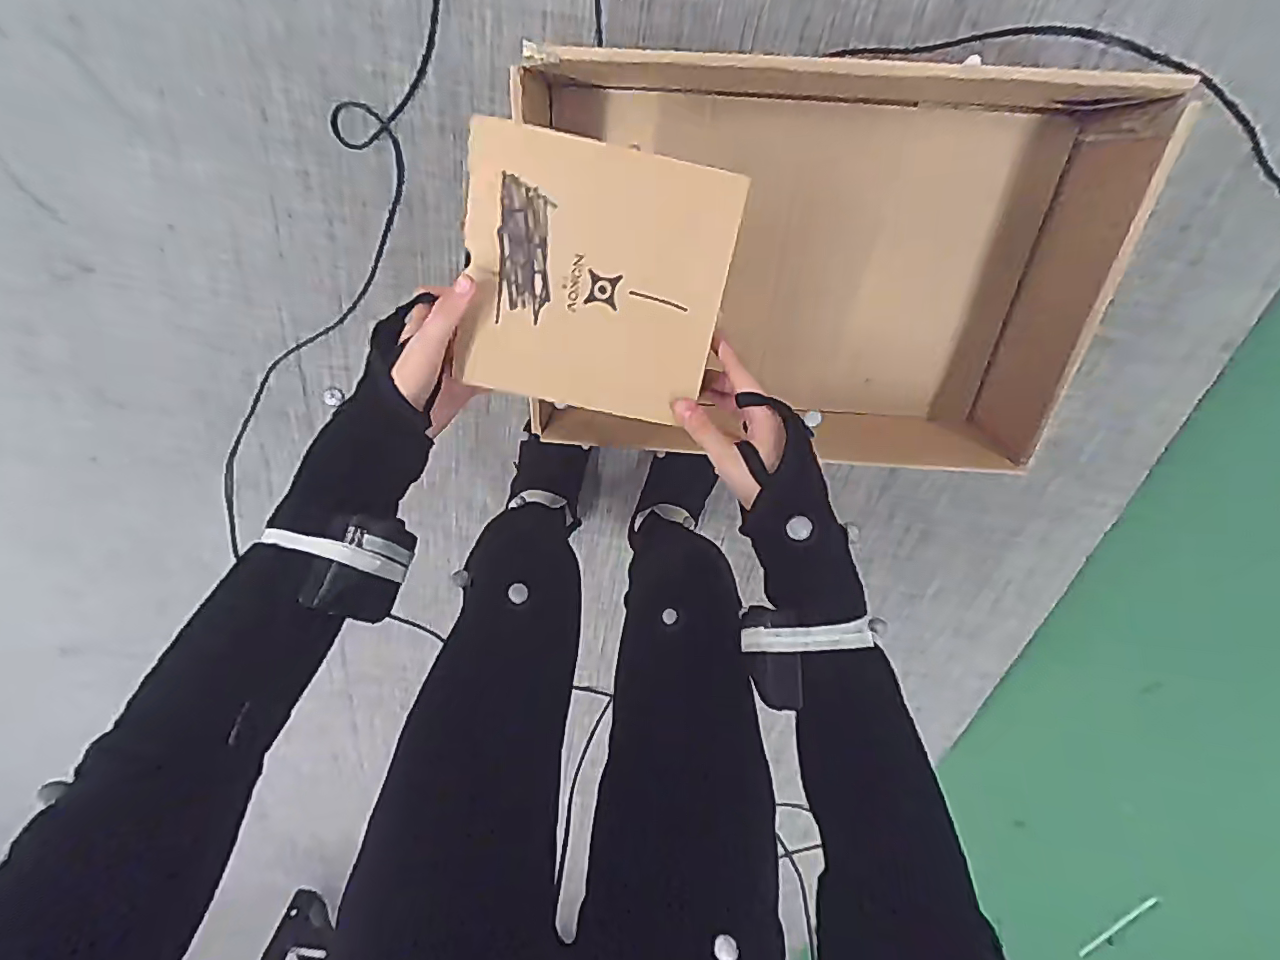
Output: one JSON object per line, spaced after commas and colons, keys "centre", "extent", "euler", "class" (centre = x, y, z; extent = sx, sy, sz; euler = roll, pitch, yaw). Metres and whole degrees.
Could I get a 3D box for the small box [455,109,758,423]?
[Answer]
{"centre": [-0.026, -0.158, 0.427], "extent": [0.179, 0.176, 0.168], "euler": [11, 111, -3], "class": "small box"}
